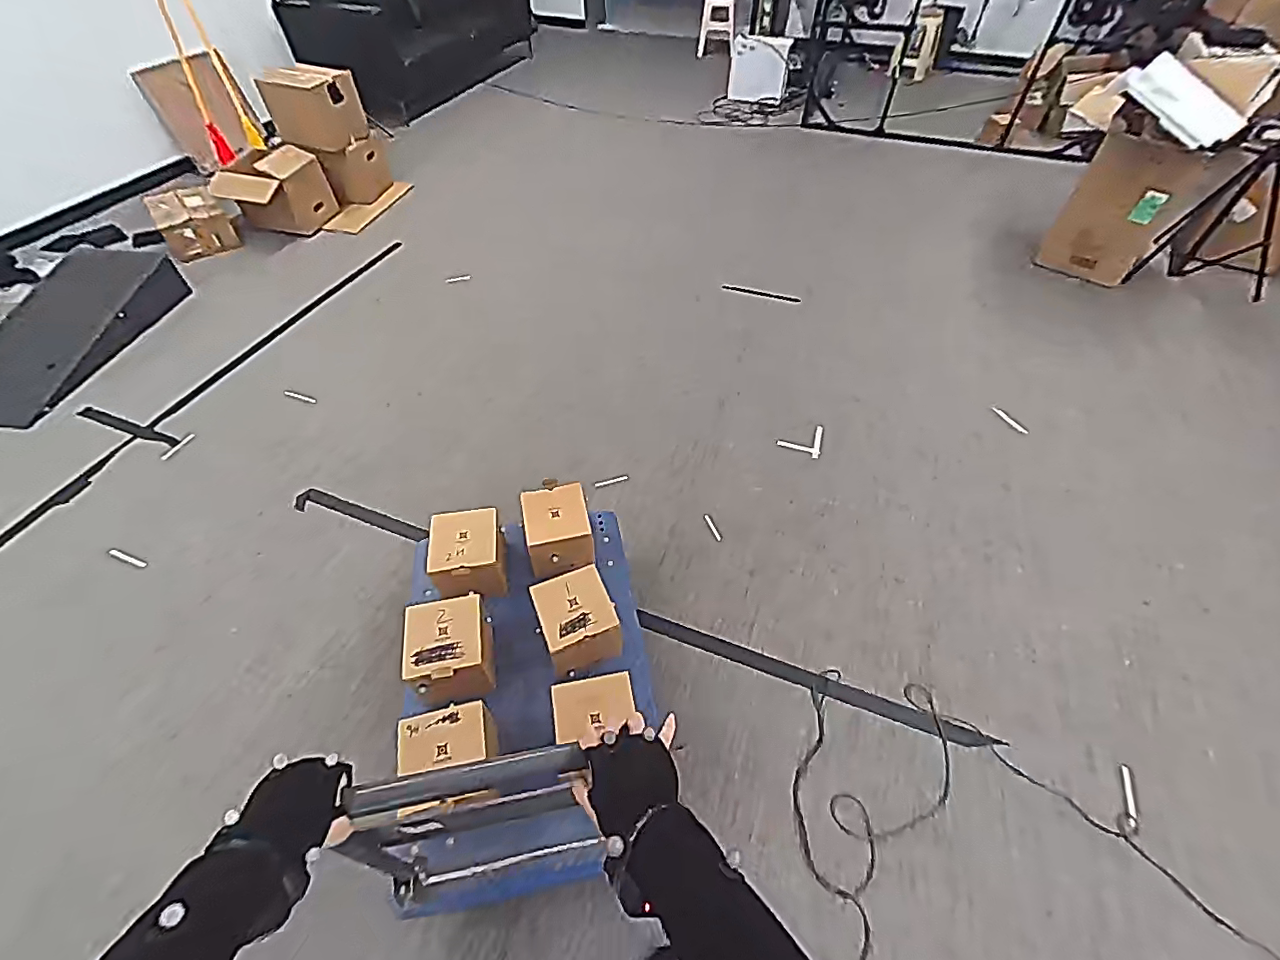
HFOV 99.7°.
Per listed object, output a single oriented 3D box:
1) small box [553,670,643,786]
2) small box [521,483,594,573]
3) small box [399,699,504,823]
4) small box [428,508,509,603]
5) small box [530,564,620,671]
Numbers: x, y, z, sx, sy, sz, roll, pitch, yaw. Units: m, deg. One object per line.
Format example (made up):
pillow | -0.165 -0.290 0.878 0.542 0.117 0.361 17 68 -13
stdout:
small box | -0.088 0.531 1.146 0.168 0.176 0.179 -7 50 -8
small box | -0.223 0.138 1.476 0.168 0.176 0.179 -11 51 -10
small box | -0.379 0.577 1.101 0.168 0.176 0.179 -10 51 -11
small box | -0.443 0.198 1.419 0.168 0.176 0.179 -7 51 -7
small box | -0.152 0.339 1.306 0.168 0.176 0.179 -18 52 -15
